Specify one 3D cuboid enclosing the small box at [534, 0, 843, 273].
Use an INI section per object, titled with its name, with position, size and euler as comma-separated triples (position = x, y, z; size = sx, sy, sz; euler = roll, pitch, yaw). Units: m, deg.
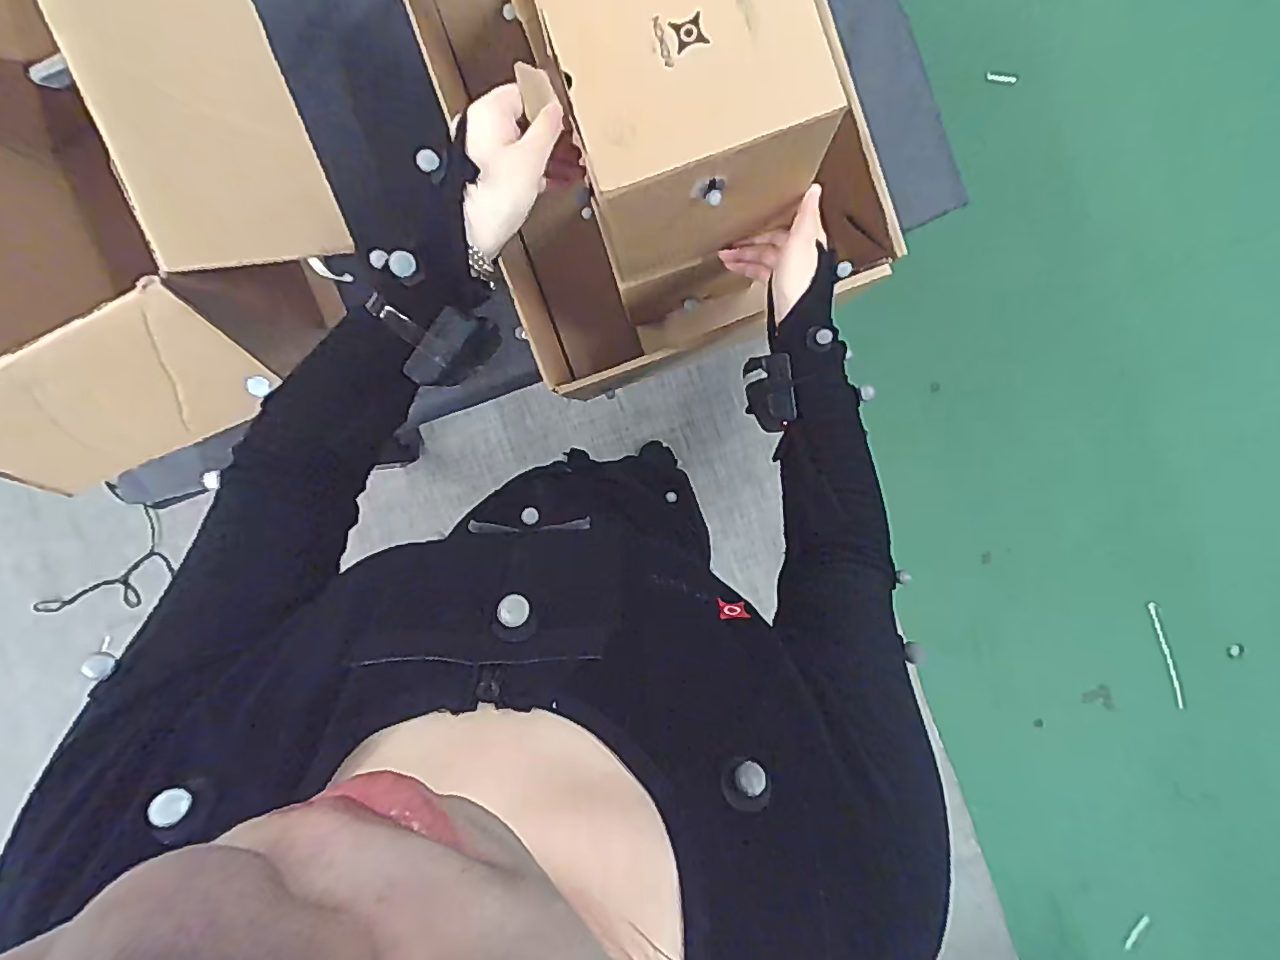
[small box]
position = 0.036, -0.297, 0.445
size = 0.179, 0.176, 0.168
euler = -18, 91, 3
